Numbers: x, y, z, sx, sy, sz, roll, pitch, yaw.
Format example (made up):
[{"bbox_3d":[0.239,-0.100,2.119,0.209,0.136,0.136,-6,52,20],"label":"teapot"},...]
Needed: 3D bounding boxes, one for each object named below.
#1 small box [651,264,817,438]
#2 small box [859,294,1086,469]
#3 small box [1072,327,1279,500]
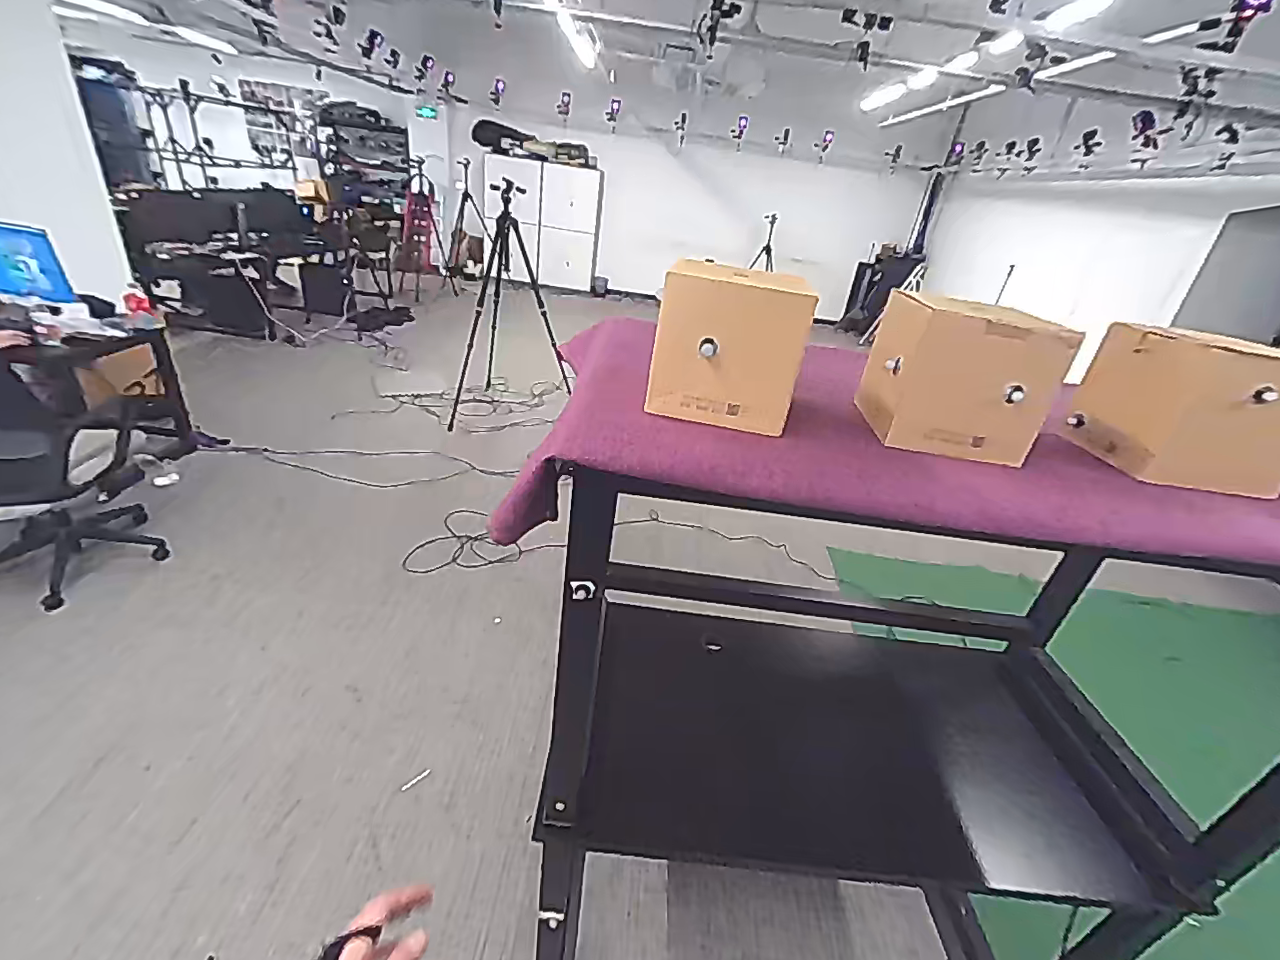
[{"bbox_3d":[0.112,-0.166,0.682,0.168,0.176,0.179,11,27,5],"label":"small box"},{"bbox_3d":[0.400,-0.129,0.691,0.168,0.176,0.179,11,27,4],"label":"small box"},{"bbox_3d":[0.710,-0.089,0.696,0.179,0.176,0.168,8,27,-2],"label":"small box"}]
